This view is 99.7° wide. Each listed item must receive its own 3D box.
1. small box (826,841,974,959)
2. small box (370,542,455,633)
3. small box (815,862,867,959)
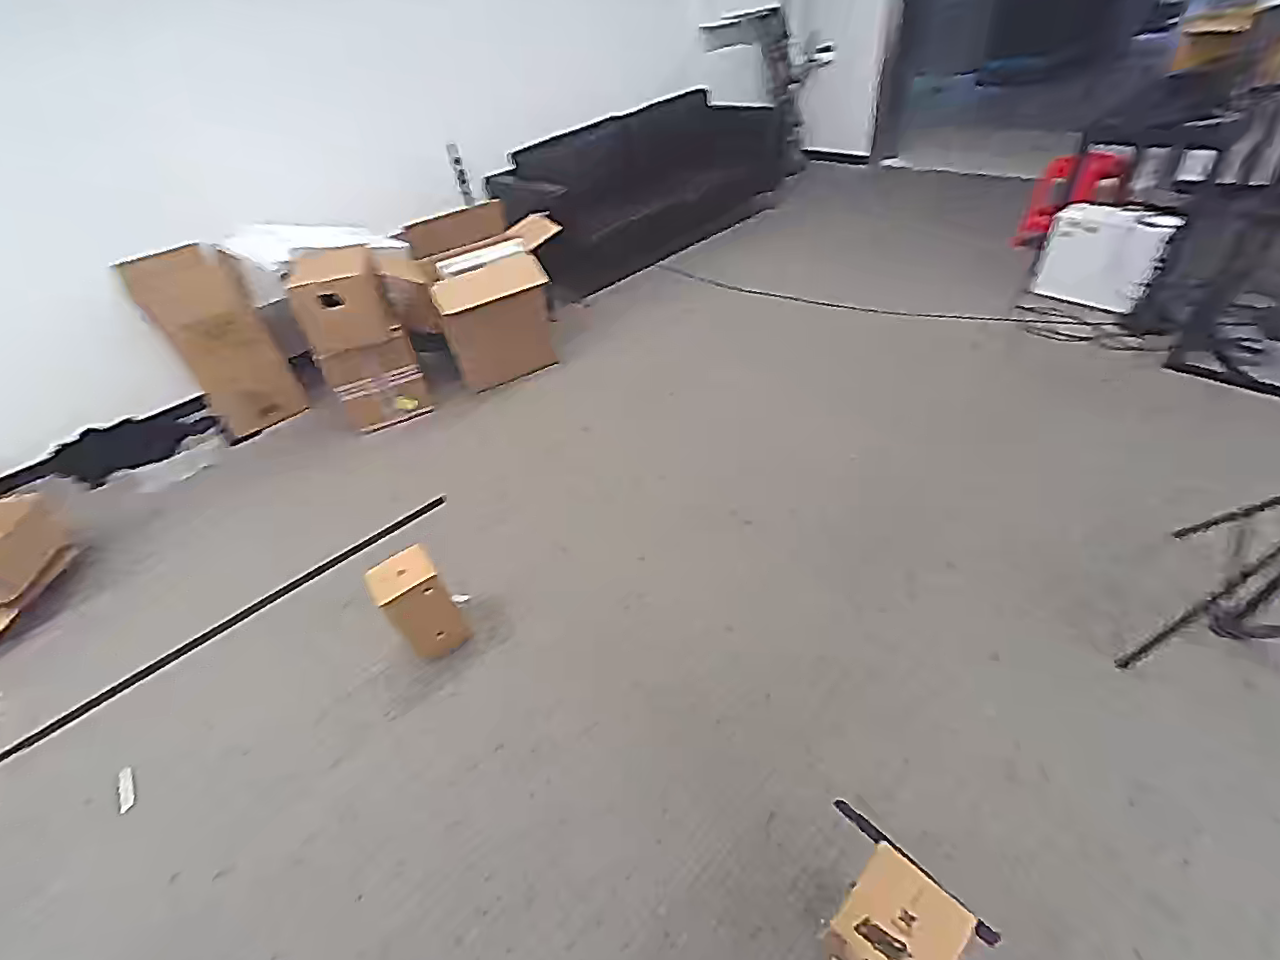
[{"bbox_3d":[0.443,0.791,0.946,0.179,0.176,0.168,-36,49,-27],"label":"small box"},{"bbox_3d":[-0.693,0.332,1.666,0.179,0.176,0.168,-32,45,-21],"label":"small box"},{"bbox_3d":[0.461,0.909,1.059,0.168,0.176,0.179,31,54,35],"label":"small box"}]
